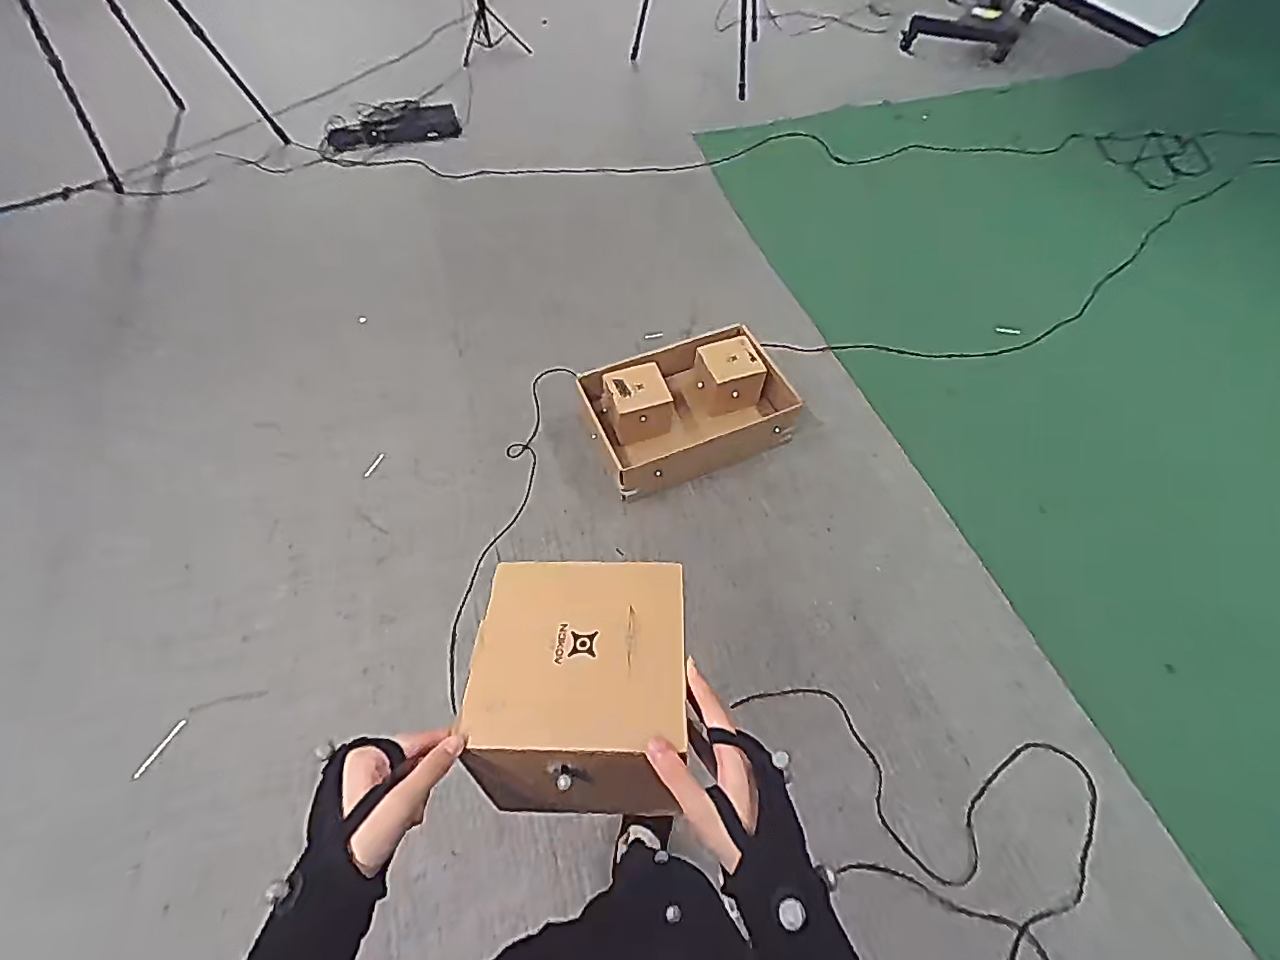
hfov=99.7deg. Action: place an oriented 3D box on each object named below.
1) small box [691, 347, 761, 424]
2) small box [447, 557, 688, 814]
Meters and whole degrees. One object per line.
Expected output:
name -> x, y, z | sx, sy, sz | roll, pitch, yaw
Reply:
small box -> 0.275, -0.307, 1.783 | 0.179, 0.176, 0.168 | -16, 60, -10
small box -> -0.046, 0.187, 0.492 | 0.179, 0.176, 0.168 | 1, 44, 3
